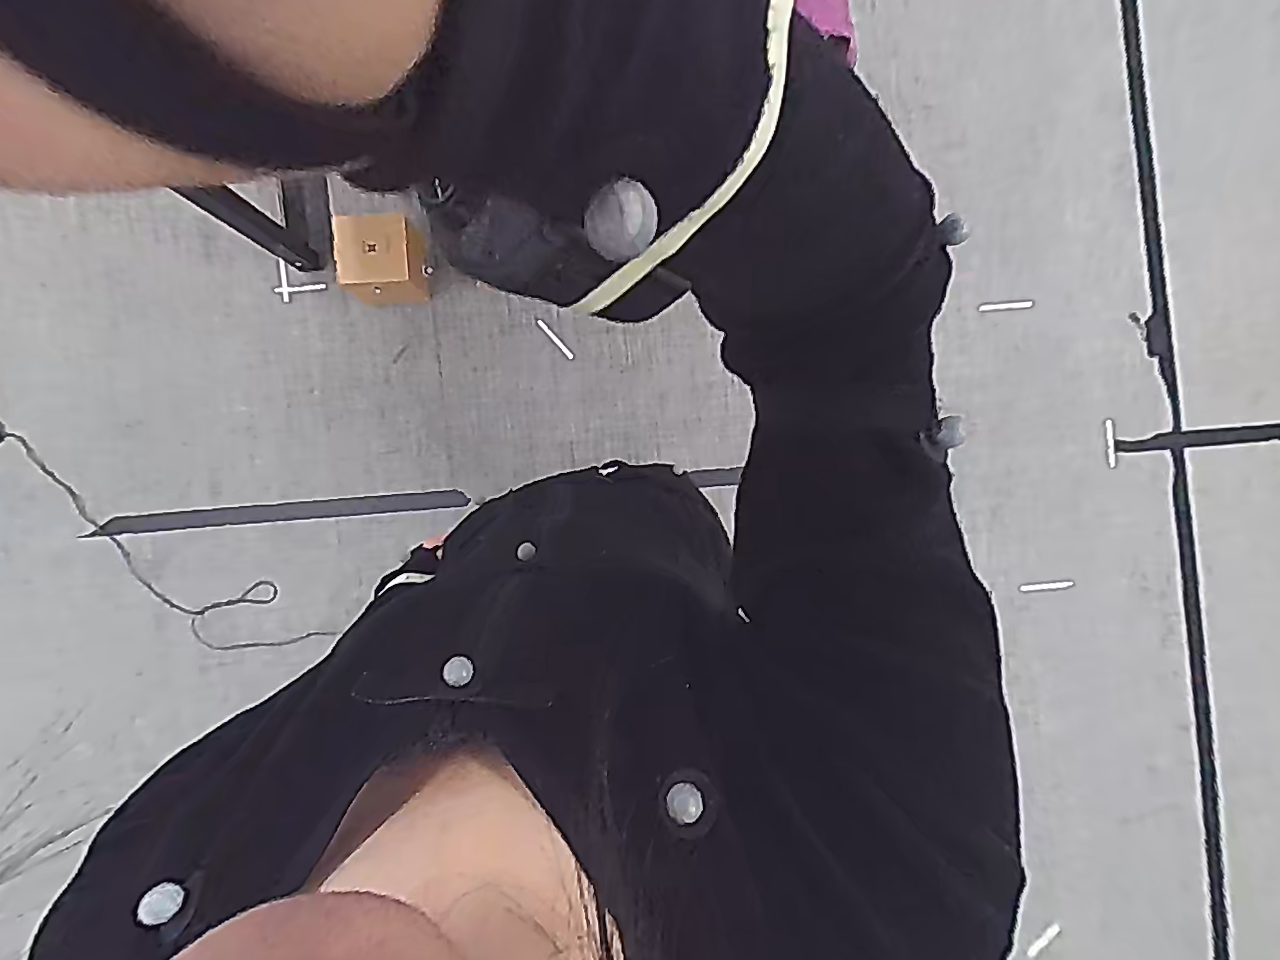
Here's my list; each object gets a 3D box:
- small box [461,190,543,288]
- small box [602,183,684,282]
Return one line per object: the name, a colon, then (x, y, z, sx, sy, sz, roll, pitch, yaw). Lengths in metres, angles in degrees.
small box: (-0.350, -0.616, 1.395, 0.168, 0.176, 0.179, -6, 92, -1)
small box: (0.007, -0.634, 1.407, 0.179, 0.176, 0.168, 12, 91, -1)
